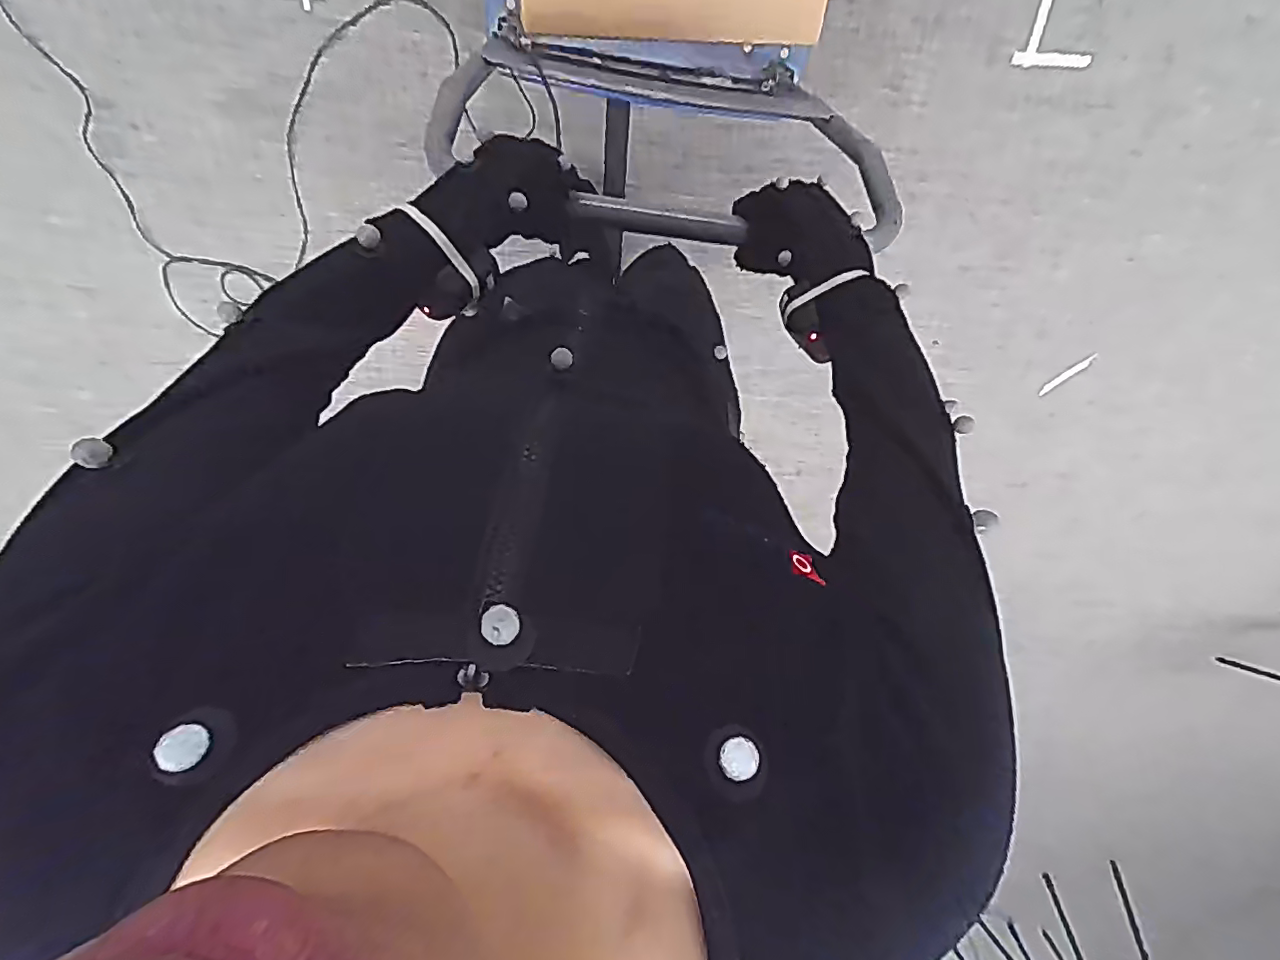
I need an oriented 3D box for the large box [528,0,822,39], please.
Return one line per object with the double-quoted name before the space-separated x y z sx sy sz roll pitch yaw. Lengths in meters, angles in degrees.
"large box" 0.039 -0.827 0.756 0.408 0.320 0.320 -1 133 -4
